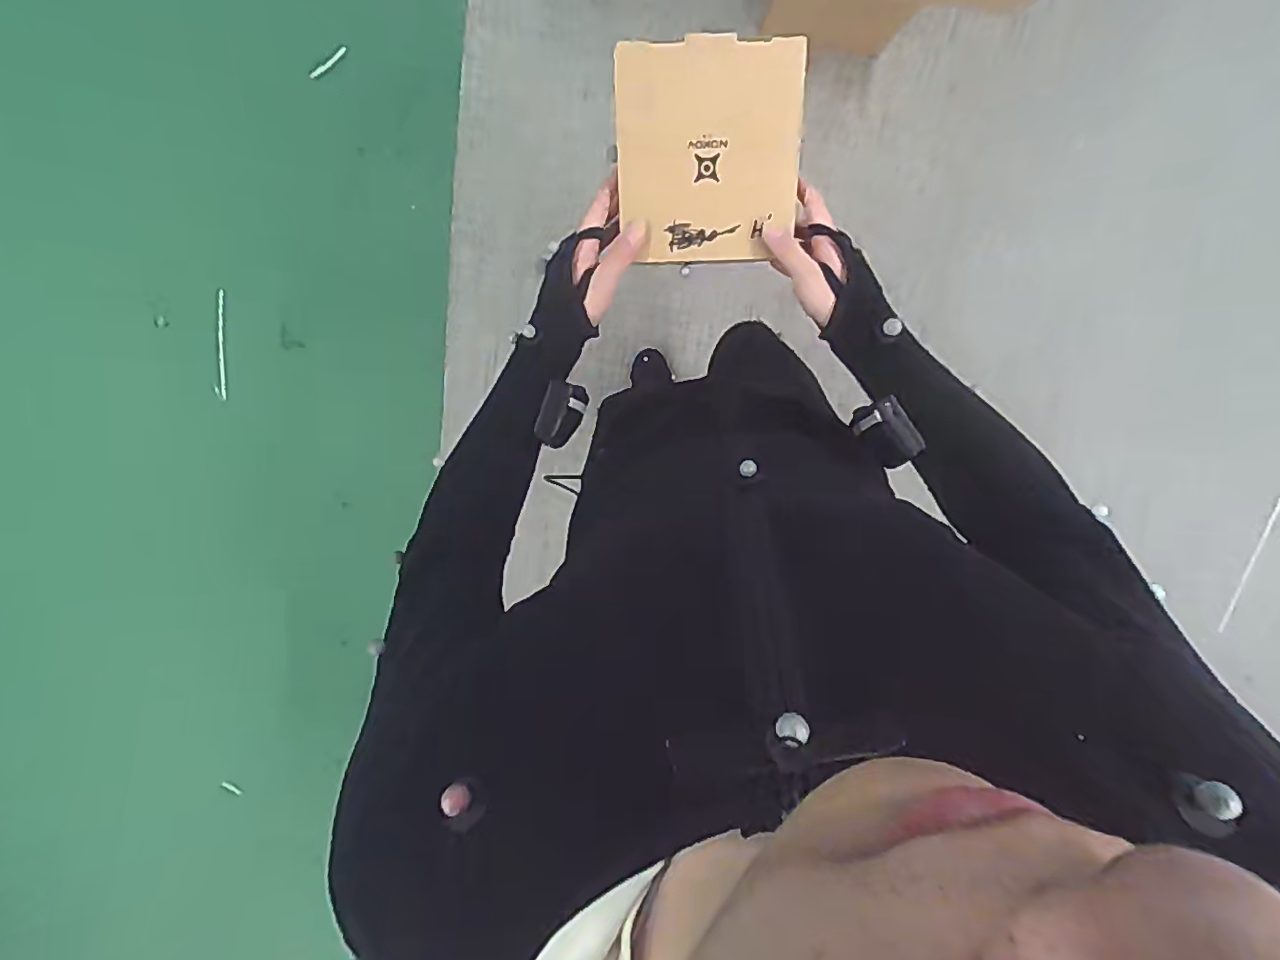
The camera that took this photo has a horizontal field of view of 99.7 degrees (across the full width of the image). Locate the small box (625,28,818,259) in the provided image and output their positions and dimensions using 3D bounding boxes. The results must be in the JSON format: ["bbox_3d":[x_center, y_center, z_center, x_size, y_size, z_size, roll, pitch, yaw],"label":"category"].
[{"bbox_3d":[0.068,-0.326,0.558,0.168,0.176,0.179,0,112,0],"label":"small box"}]
